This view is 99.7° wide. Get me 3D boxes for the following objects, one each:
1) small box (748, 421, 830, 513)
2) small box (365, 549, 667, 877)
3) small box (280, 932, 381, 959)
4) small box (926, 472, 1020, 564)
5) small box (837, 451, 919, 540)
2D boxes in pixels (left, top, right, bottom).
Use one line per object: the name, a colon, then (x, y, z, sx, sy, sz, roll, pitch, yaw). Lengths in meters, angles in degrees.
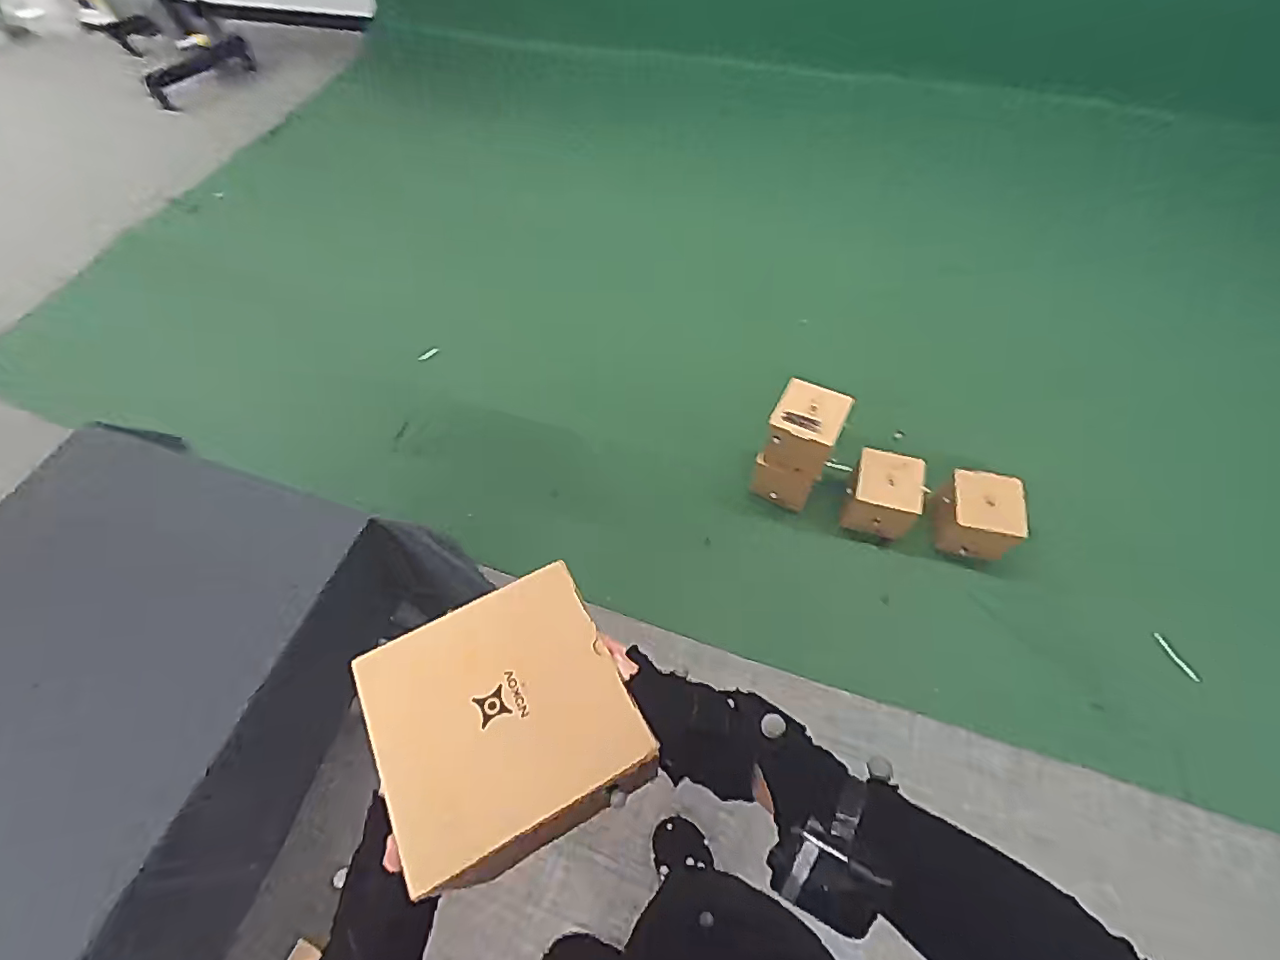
small box: (0.430, -0.035, 1.587, 0.168, 0.176, 0.179, 26, 65, 17)
small box: (-0.092, 0.193, 0.448, 0.179, 0.176, 0.168, -23, 59, -16)
small box: (-0.599, 0.989, 1.008, 0.179, 0.176, 0.168, 20, 62, 13)
small box: (0.904, 0.106, 1.483, 0.168, 0.176, 0.179, 11, 60, 9)
small box: (0.666, 0.048, 1.525, 0.168, 0.176, 0.179, 15, 60, 10)
